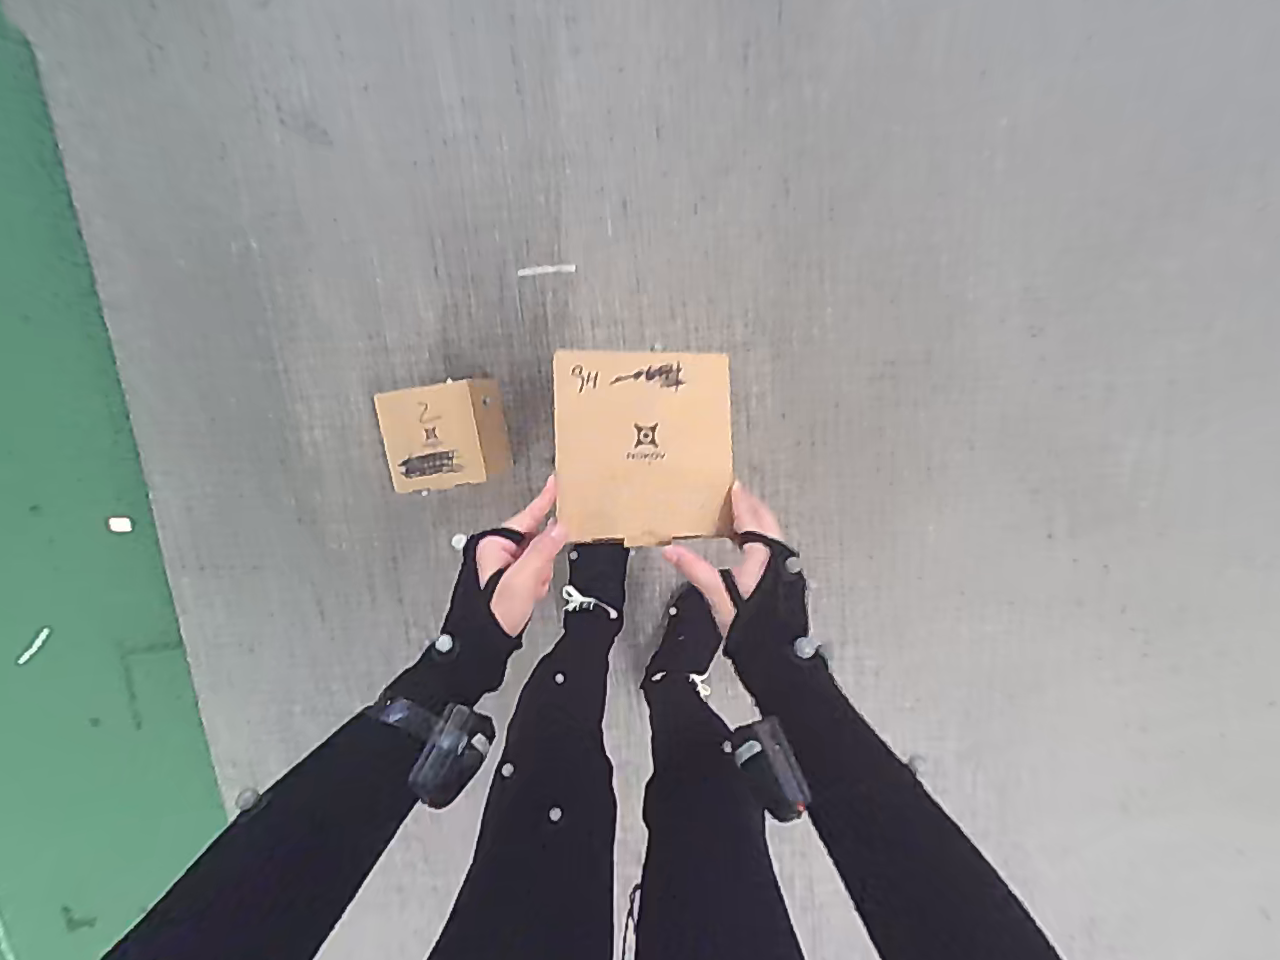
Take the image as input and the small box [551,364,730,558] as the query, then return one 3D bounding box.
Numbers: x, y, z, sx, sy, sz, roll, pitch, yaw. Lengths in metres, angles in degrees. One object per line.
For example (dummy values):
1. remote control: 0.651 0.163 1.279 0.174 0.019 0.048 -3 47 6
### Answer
1. small box: -0.008 -0.017 0.572 0.168 0.176 0.179 -1 88 -9
